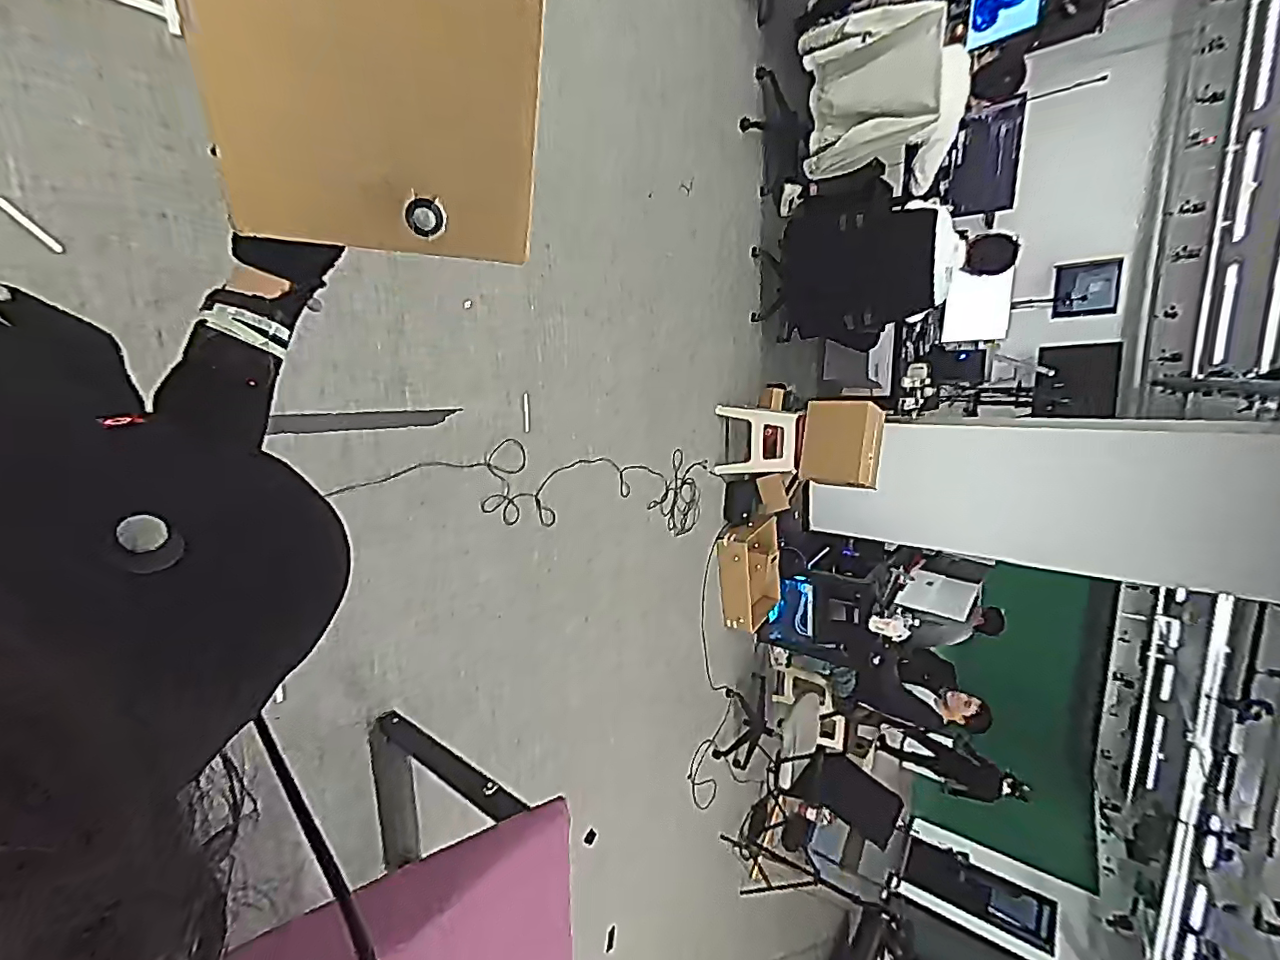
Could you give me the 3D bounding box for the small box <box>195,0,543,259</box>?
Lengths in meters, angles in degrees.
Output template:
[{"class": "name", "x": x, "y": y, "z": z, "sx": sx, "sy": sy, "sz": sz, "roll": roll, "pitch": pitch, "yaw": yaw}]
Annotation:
[{"class": "small box", "x": -0.161, "y": -0.261, "z": 0.348, "sx": 0.168, "sy": 0.179, "sz": 0.176, "roll": -3, "pitch": 126, "yaw": -23}]
